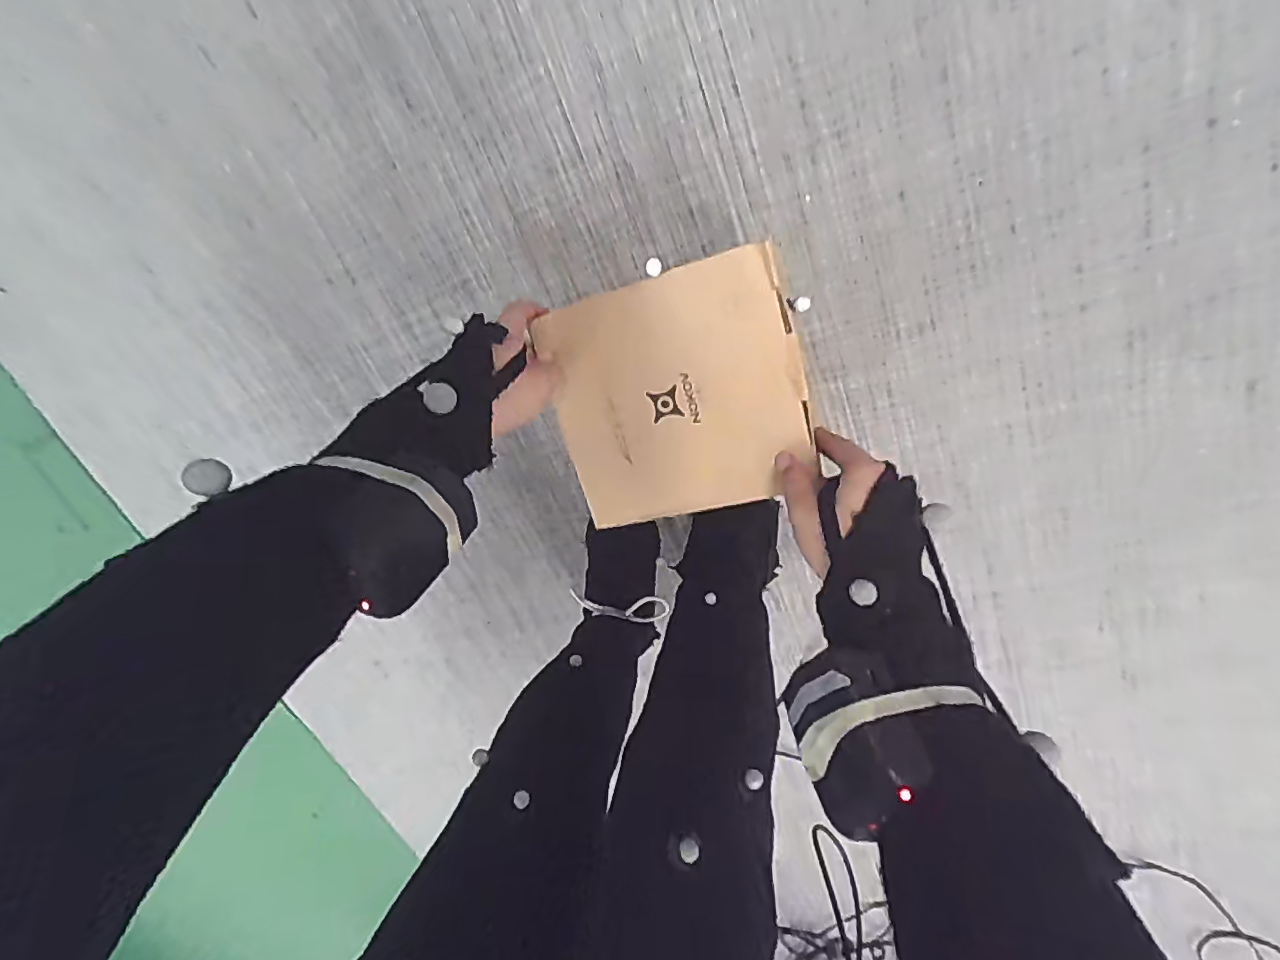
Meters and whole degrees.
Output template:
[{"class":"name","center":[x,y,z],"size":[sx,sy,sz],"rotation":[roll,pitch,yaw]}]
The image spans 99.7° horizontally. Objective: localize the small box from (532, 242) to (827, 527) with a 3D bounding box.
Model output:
[{"class":"small box","center":[0.046,-0.081,0.449],"size":[0.179,0.176,0.168],"rotation":[-13,104,21]}]
